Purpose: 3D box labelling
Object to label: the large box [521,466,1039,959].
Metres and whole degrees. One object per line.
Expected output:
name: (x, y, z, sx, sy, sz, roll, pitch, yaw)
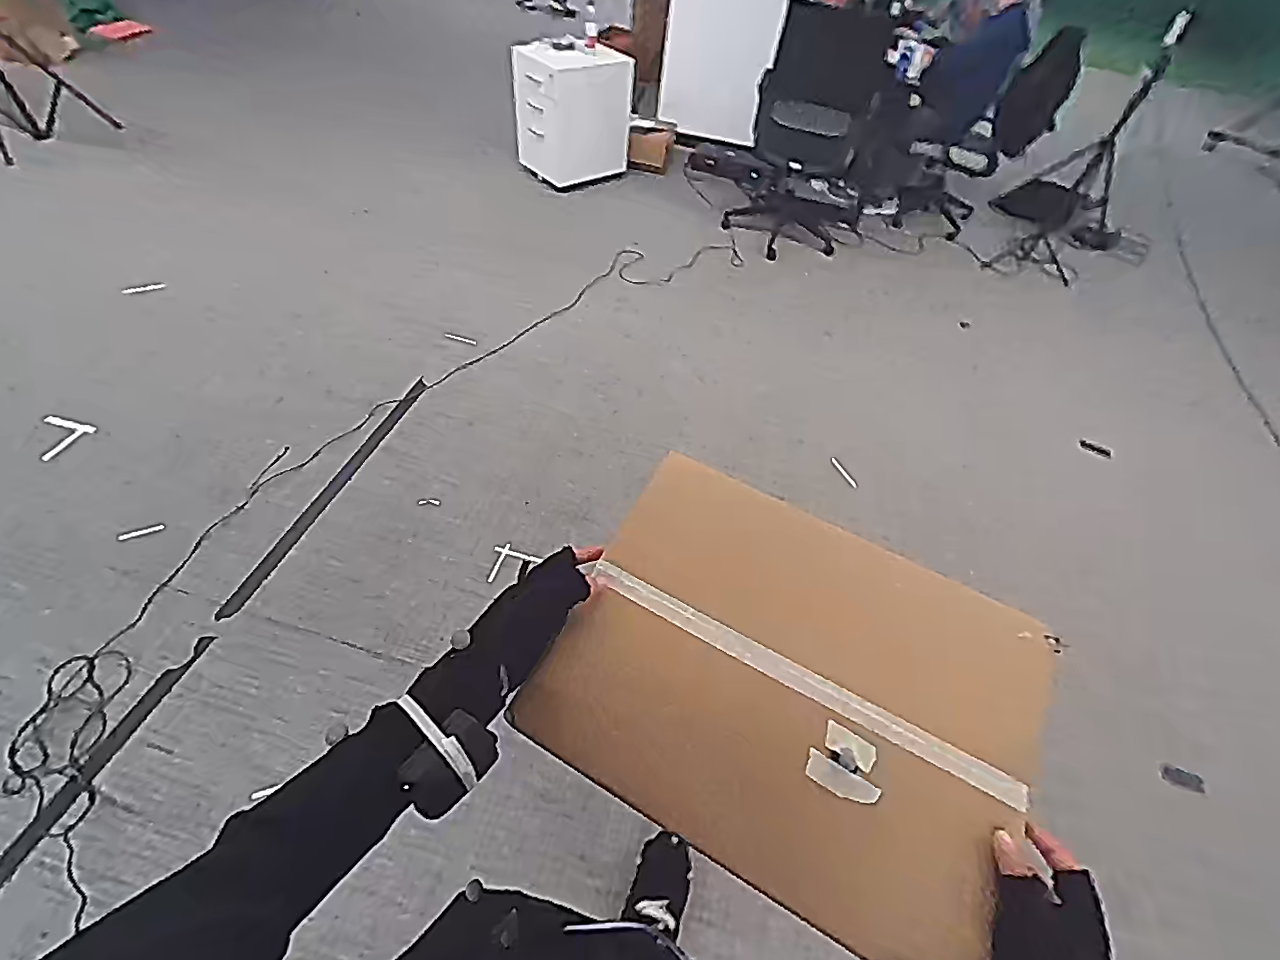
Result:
large box: (0.135, 0.251, 0.628, 0.408, 0.320, 0.320, 26, 65, 13)
